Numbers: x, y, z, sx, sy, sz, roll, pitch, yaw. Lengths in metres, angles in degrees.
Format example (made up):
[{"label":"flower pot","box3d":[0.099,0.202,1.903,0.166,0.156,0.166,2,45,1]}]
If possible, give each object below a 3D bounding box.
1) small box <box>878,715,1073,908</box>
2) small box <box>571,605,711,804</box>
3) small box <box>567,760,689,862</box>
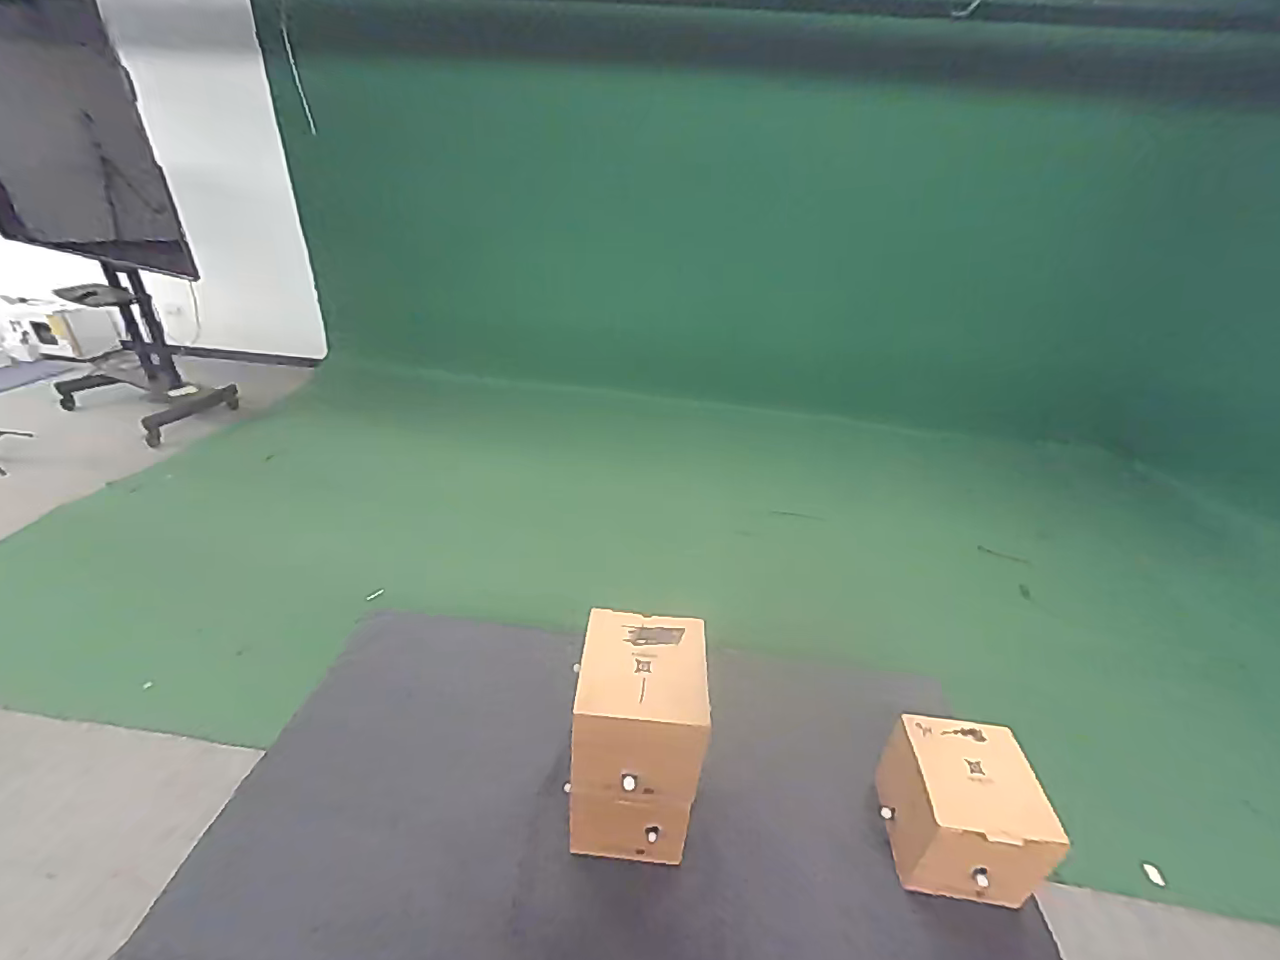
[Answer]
[{"label":"small box","box3d":[0.471,0.484,0.794,0.168,0.176,0.179,7,31,5]},{"label":"small box","box3d":[0.000,0.299,0.733,0.168,0.176,0.179,6,31,1]},{"label":"small box","box3d":[-0.013,0.439,0.817,0.168,0.176,0.179,6,29,1]}]
